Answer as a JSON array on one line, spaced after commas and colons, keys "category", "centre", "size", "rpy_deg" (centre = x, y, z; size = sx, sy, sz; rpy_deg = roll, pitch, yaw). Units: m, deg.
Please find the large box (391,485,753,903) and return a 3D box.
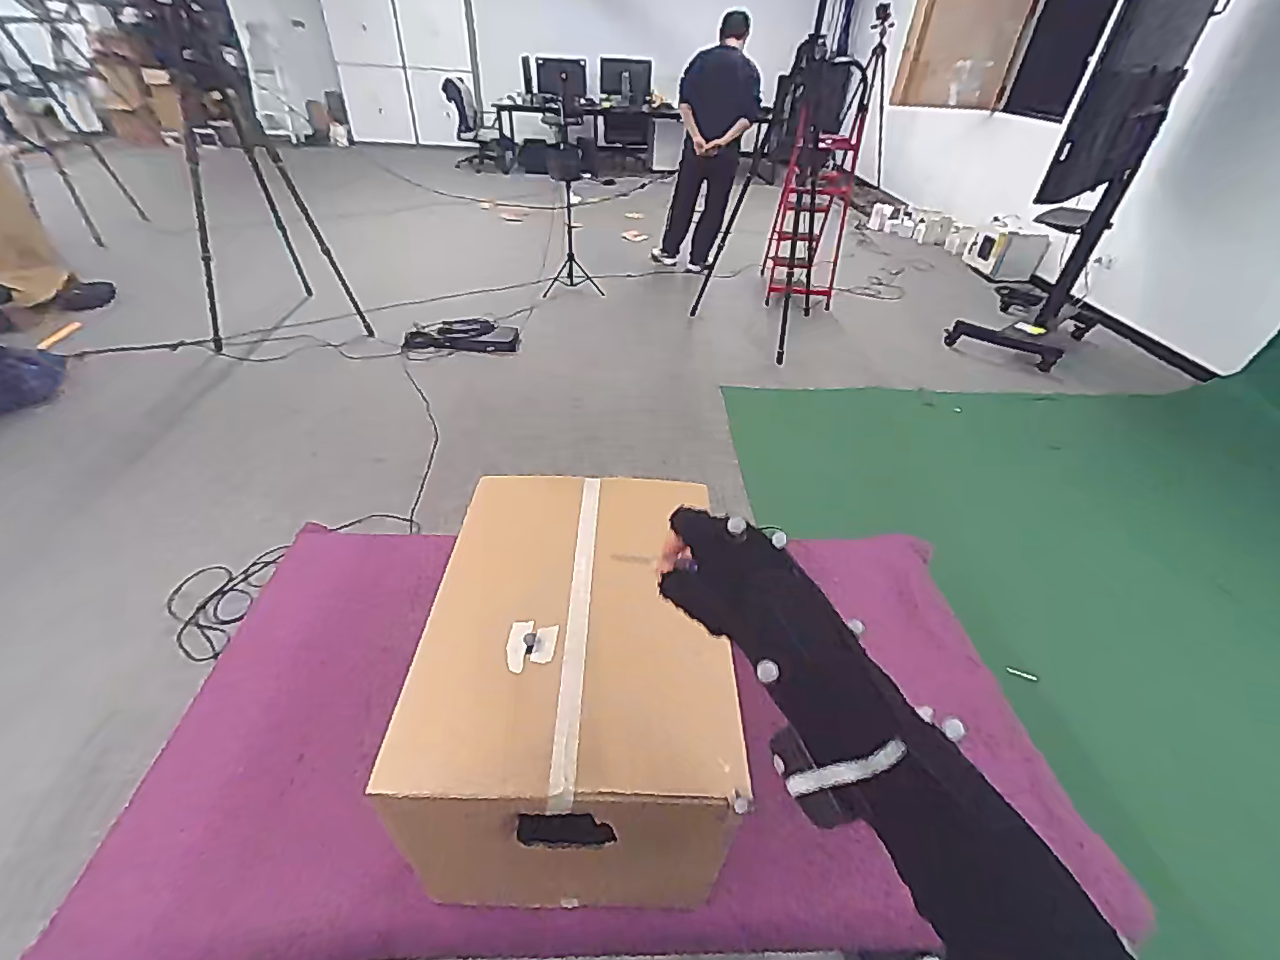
[{"category": "large box", "centre": [-0.068, 0.255, 0.697], "size": [0.320, 0.320, 0.408], "rpy_deg": [3, 39, -2]}]
